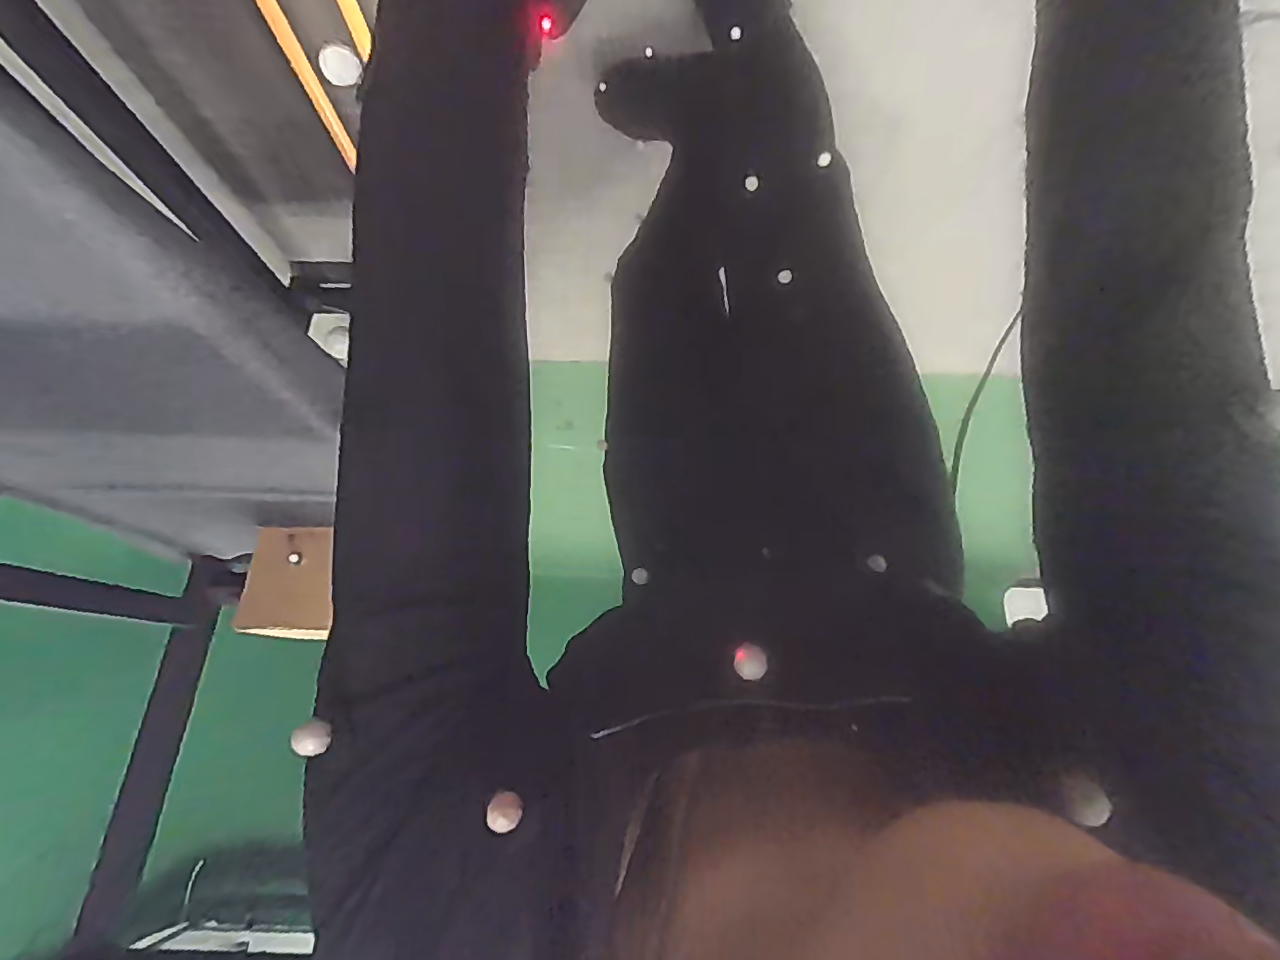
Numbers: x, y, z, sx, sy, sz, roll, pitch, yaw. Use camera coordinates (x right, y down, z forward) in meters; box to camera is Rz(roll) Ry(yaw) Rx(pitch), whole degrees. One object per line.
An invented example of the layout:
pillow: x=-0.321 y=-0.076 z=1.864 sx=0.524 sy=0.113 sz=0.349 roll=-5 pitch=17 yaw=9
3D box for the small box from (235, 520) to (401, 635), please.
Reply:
small box: x=-0.544 y=0.175 z=0.945 sx=0.168 sy=0.176 sz=0.179 roll=-1 pitch=159 yaw=7
